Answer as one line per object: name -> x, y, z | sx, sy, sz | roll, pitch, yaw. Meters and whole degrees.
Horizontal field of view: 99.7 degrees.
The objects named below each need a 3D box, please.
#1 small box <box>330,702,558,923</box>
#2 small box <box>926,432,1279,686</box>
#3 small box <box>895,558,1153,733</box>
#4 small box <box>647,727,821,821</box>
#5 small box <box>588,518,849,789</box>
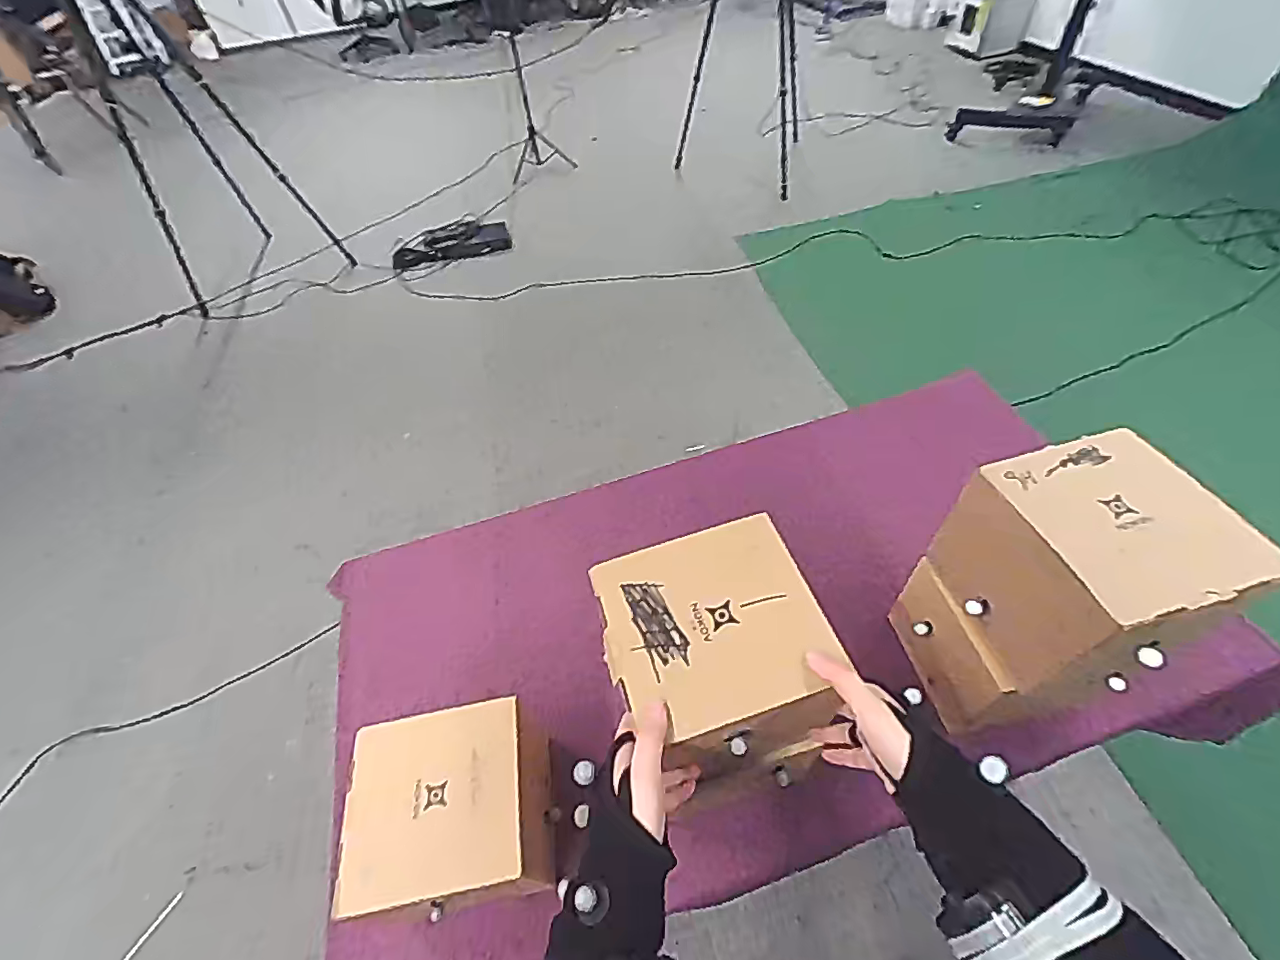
small box -> -0.198, 0.370, 0.597 | 0.179, 0.176, 0.168 | -11, 51, -3
small box -> 0.425, 0.086, 0.536 | 0.168, 0.176, 0.179 | -14, 51, -5
small box -> 0.439, 0.190, 0.662 | 0.179, 0.176, 0.168 | -12, 50, -3
small box -> 0.085, 0.277, 0.635 | 0.179, 0.176, 0.168 | -15, 50, -4
small box -> 0.065, 0.169, 0.512 | 0.179, 0.176, 0.168 | -17, 52, -6
